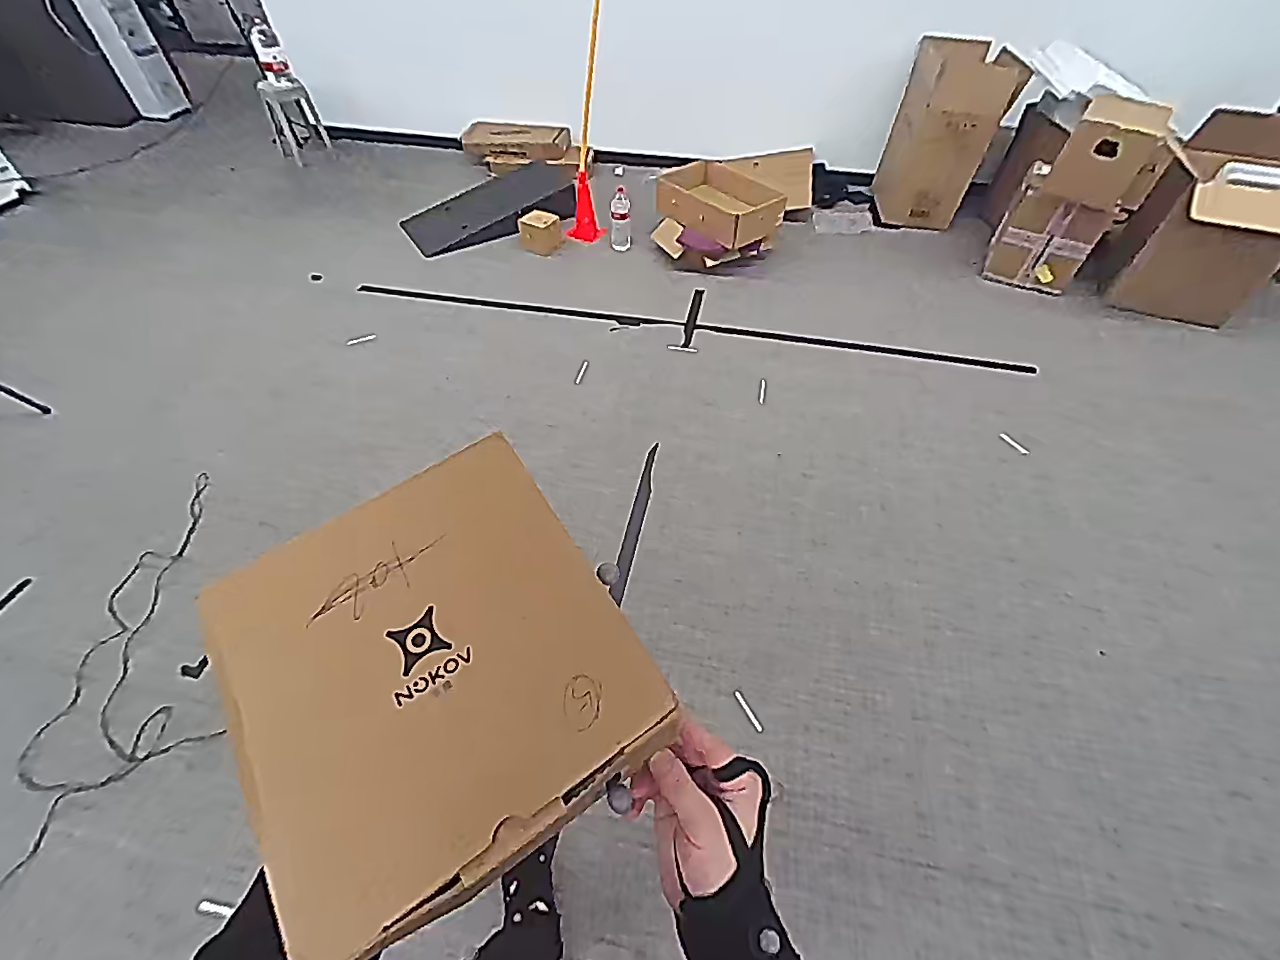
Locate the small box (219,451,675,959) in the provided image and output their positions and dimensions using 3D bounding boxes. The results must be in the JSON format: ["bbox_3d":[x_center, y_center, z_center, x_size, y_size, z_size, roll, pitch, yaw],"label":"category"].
[{"bbox_3d":[-0.093,0.122,0.323,0.168,0.176,0.179,-32,63,-15],"label":"small box"}]
